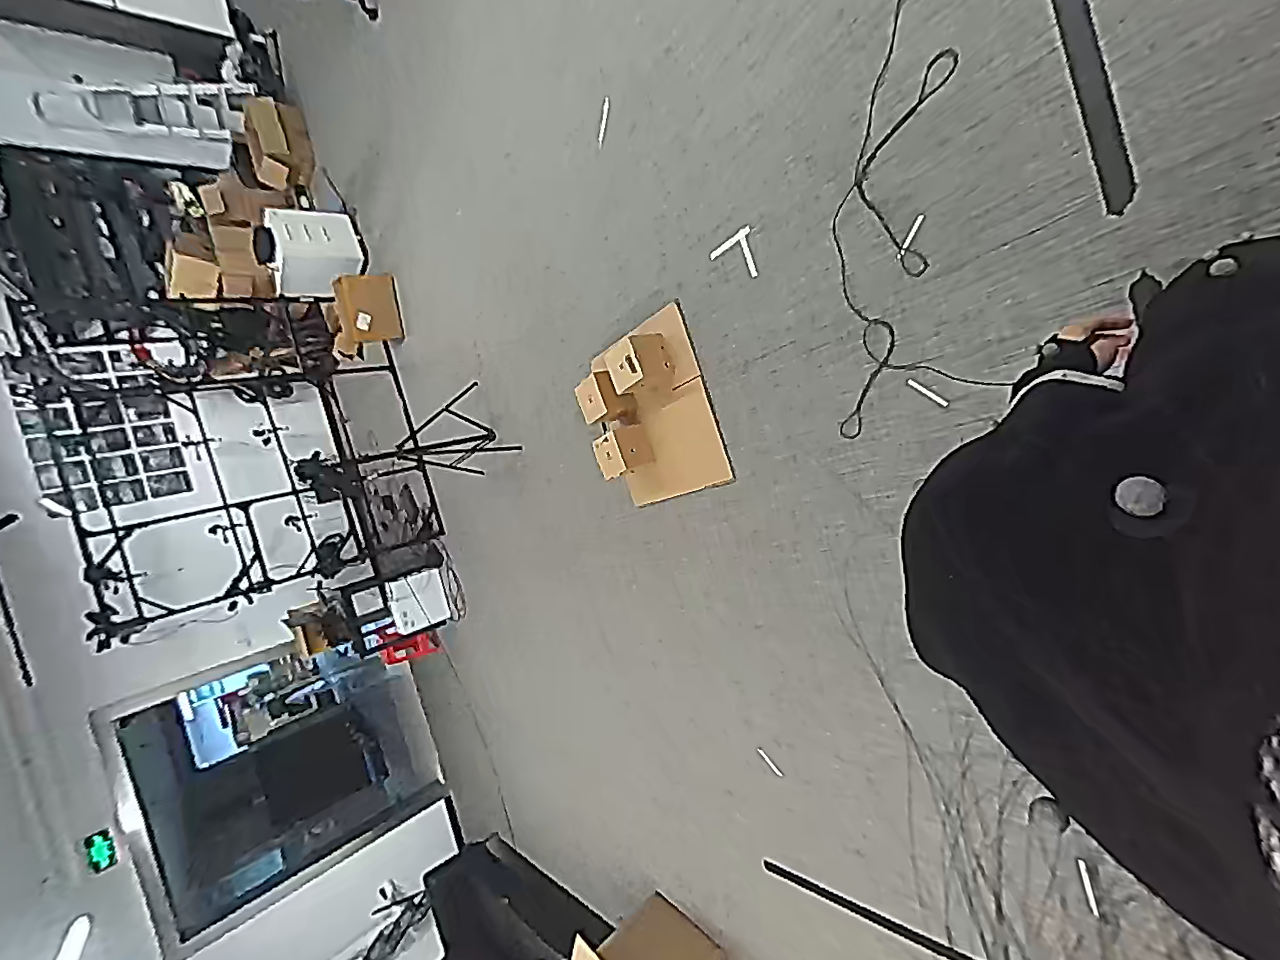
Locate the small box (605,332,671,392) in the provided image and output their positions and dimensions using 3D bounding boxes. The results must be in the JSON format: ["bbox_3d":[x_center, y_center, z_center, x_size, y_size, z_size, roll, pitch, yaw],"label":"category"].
[{"bbox_3d":[0.000,-0.456,2.075,0.179,0.176,0.168,-24,85,51],"label":"small box"}]

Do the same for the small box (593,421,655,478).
[{"bbox_3d":[-0.062,-0.128,2.265,0.168,0.176,0.179,-25,85,50],"label":"small box"}]
